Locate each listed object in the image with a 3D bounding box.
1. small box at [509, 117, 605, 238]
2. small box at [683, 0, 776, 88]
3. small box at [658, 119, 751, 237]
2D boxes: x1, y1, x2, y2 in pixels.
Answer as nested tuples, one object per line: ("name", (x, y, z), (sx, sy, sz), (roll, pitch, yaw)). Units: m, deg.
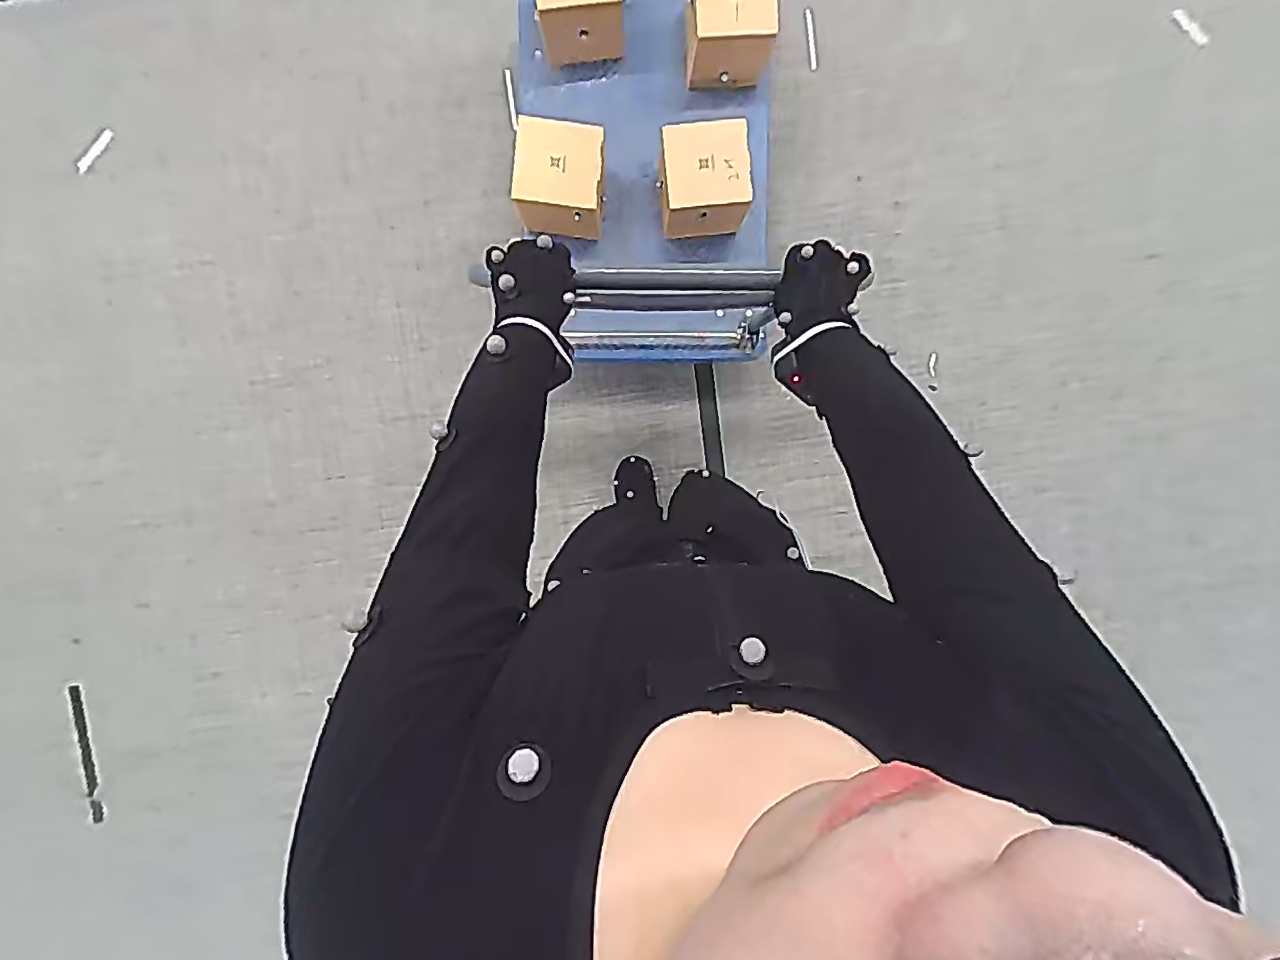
("small box", (-0.172, -0.641, 1.165), (0.179, 0.176, 0.168), (6, 94, -3))
("small box", (0.184, -0.978, 1.147), (0.168, 0.176, 0.179), (-3, 96, -1))
("small box", (0.132, -0.644, 1.172), (0.179, 0.176, 0.168), (-6, 95, -1))
